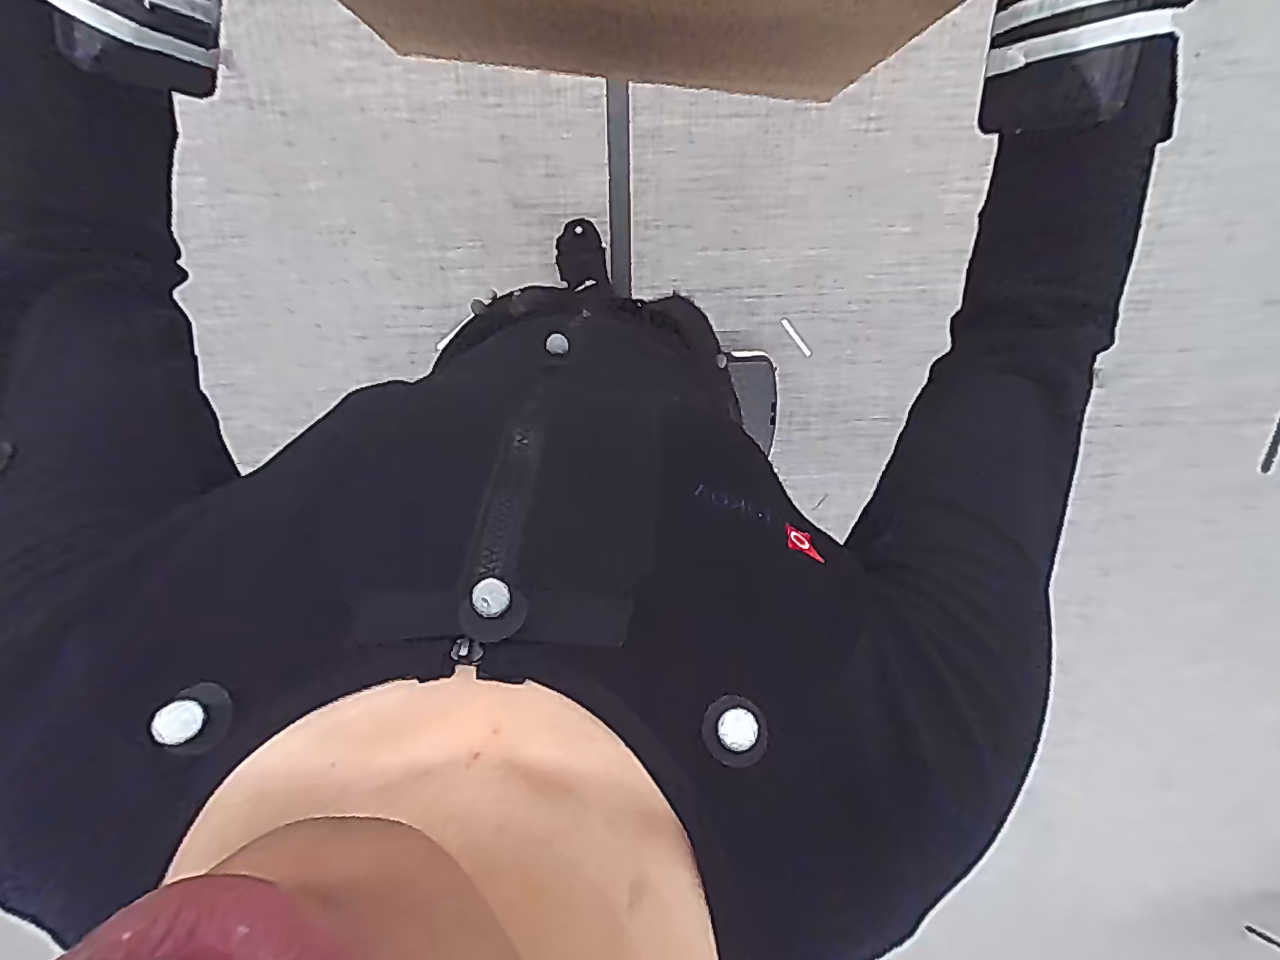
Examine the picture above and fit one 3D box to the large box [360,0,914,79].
[{"bbox_3d":[-0.007,-0.467,0.303,0.408,0.320,0.320,3,113,-4],"label":"large box"}]
